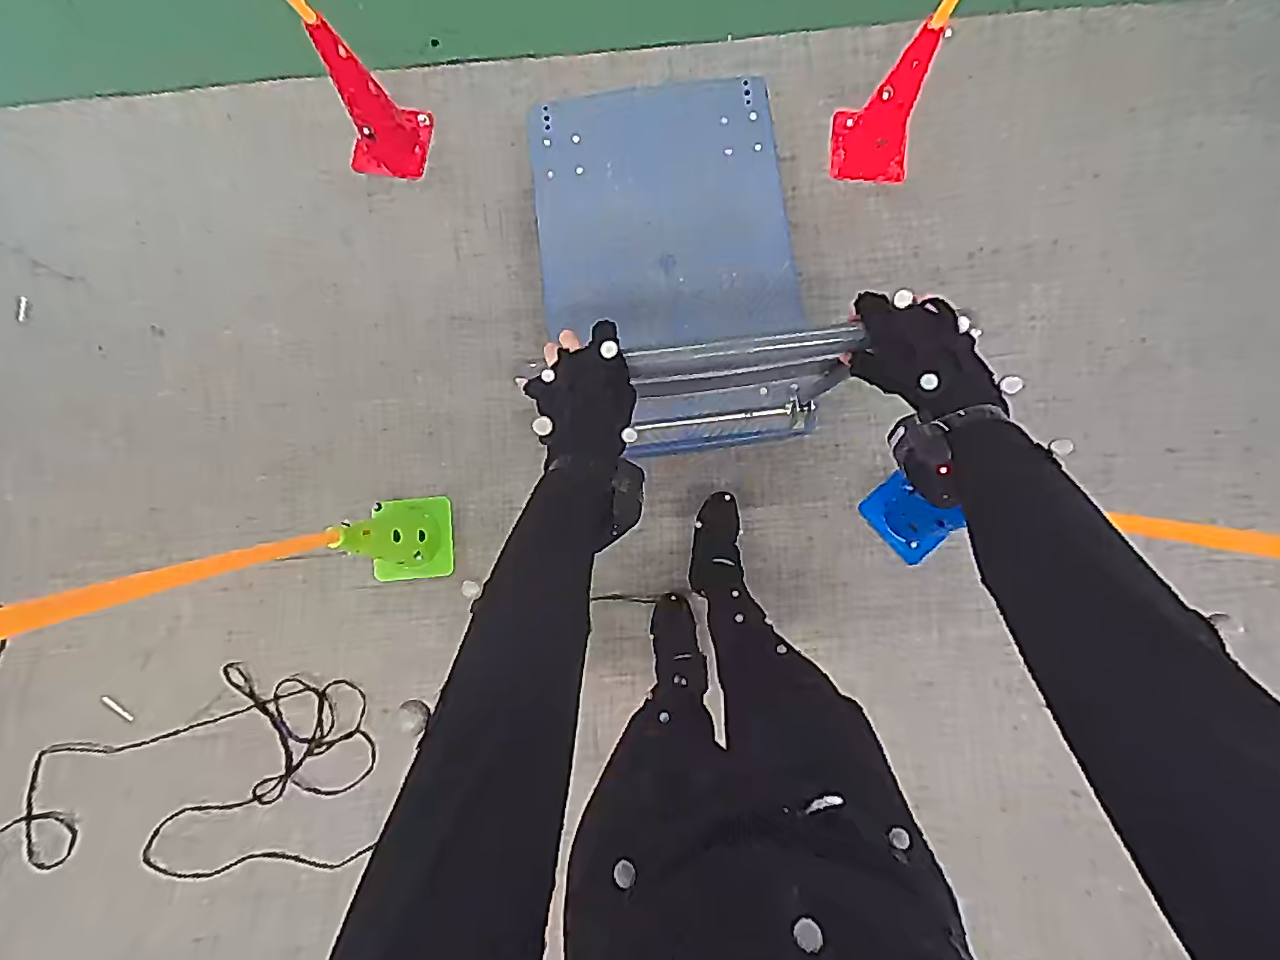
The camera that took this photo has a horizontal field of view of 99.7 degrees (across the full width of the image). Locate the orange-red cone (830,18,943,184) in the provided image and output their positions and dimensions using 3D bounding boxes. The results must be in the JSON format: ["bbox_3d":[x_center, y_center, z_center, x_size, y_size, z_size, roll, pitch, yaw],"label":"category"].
[{"bbox_3d":[0.611,-0.910,1.281,0.198,0.360,0.199,7,84,3],"label":"orange-red cone"}]
